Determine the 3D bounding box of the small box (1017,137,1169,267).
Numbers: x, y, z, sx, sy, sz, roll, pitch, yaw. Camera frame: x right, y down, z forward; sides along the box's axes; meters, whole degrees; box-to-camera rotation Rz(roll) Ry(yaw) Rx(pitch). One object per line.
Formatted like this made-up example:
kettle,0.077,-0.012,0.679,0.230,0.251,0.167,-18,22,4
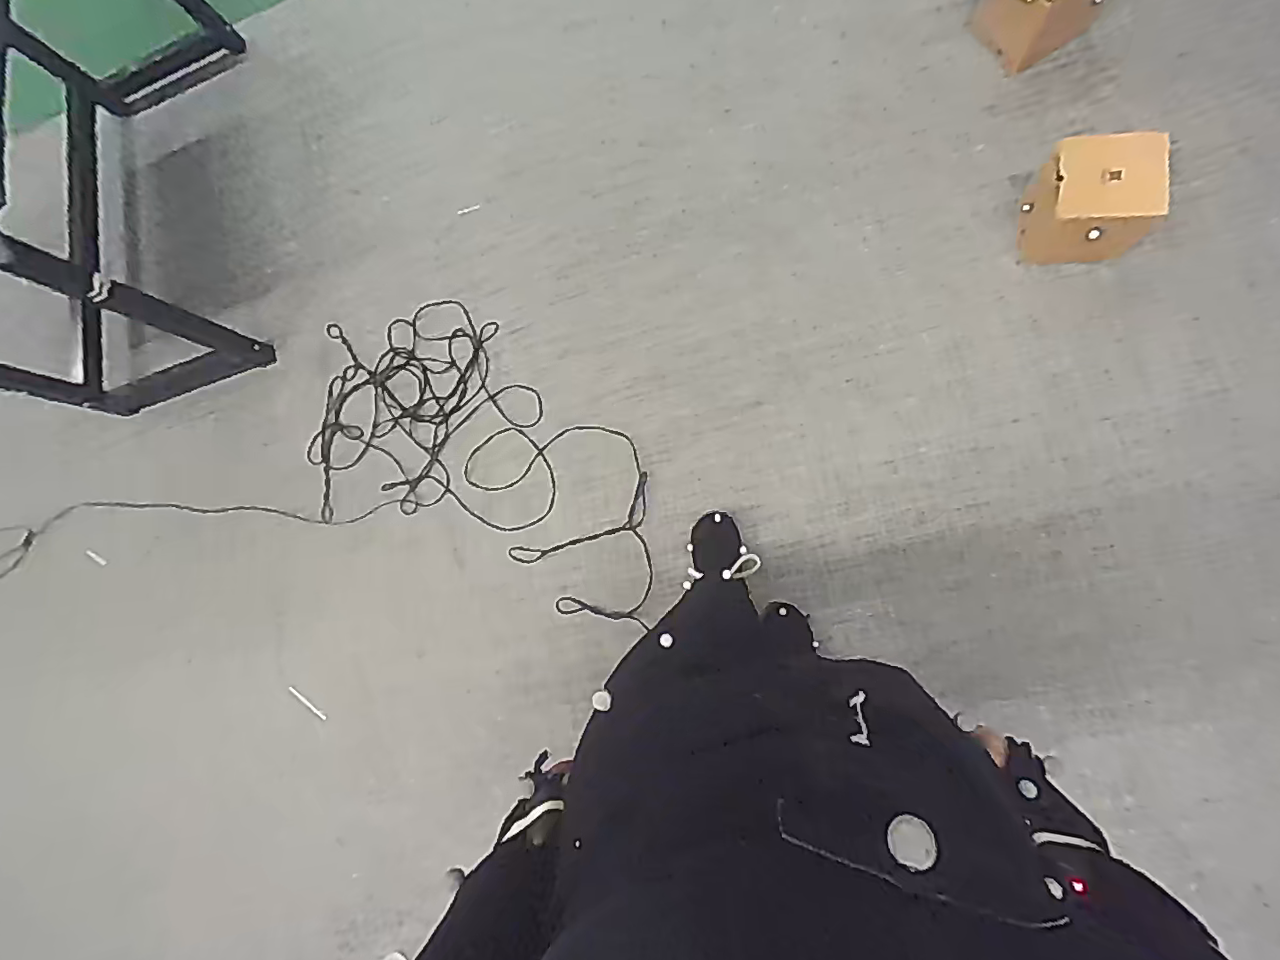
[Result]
small box,0.885,-0.539,1.069,0.179,0.176,0.168,4,83,14
